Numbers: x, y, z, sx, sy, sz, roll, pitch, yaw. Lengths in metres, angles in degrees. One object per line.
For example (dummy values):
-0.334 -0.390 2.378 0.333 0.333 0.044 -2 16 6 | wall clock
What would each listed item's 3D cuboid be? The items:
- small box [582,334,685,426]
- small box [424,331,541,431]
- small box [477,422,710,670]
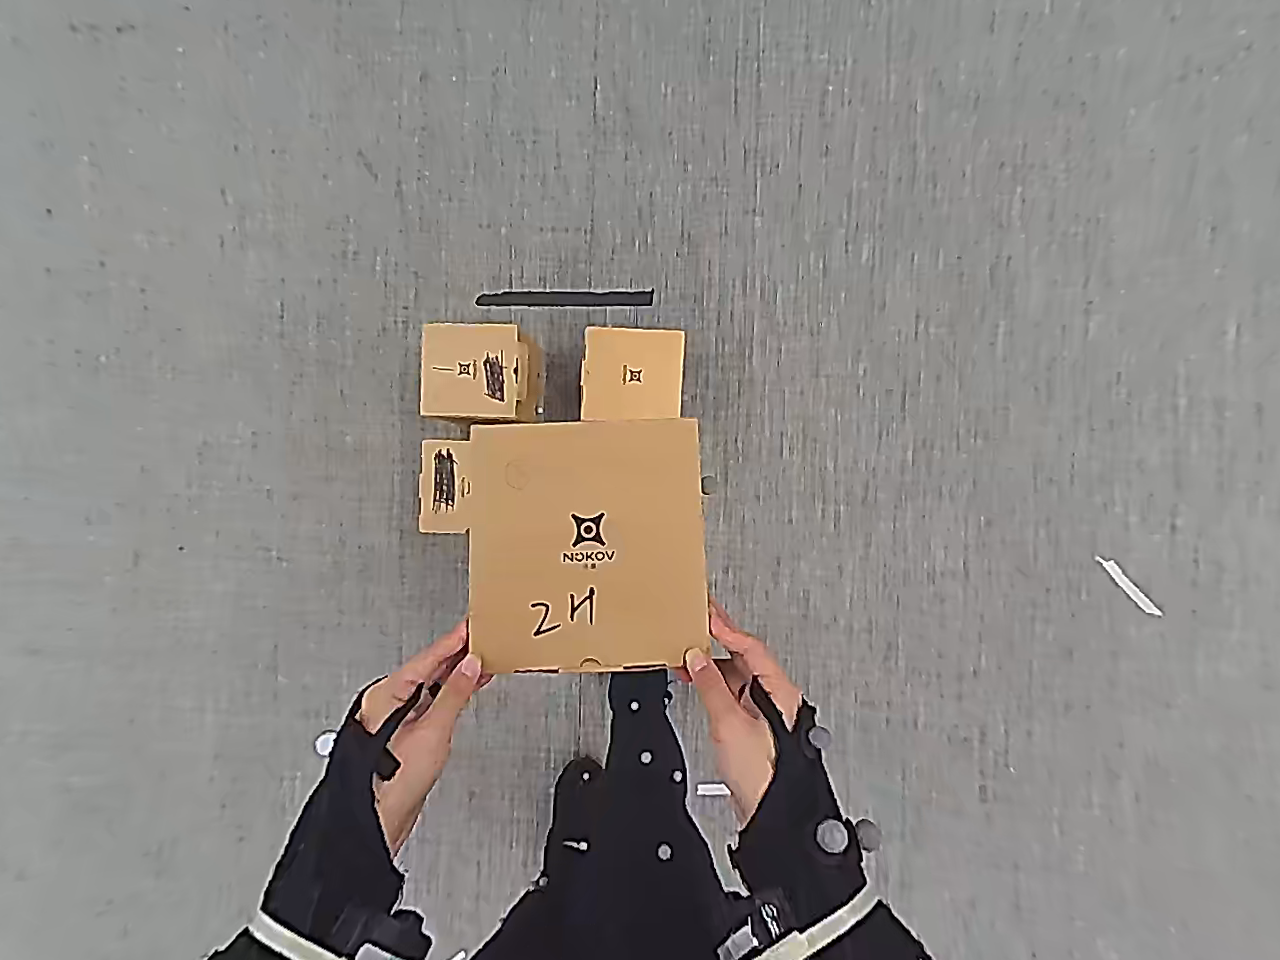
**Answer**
-0.009 -0.173 1.028 0.179 0.176 0.168 3 90 3 | small box
-0.293 -0.182 1.038 0.179 0.176 0.168 2 90 3 | small box
-0.035 0.056 0.468 0.168 0.176 0.179 -3 82 0 | small box
